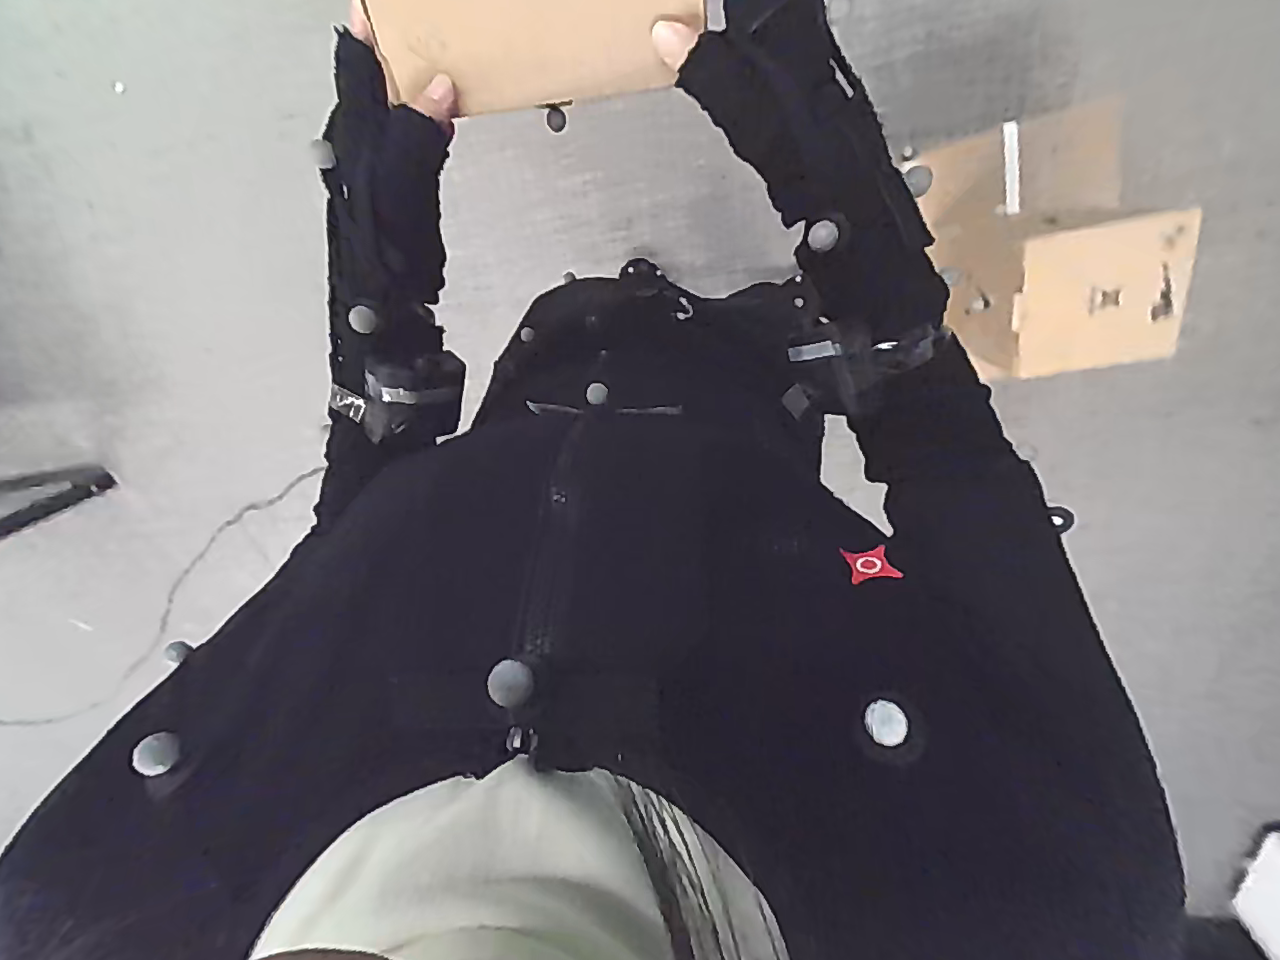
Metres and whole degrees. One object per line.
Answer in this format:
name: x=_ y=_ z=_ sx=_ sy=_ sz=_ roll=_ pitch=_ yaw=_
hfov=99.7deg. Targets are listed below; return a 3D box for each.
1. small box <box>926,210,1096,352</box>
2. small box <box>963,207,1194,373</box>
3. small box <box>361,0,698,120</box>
small box: x=0.571 y=-0.318 z=0.859 sx=0.168 sy=0.176 sz=0.179 roll=-7 pitch=113 yaw=11
small box: x=0.550 y=-0.249 z=0.712 sx=0.179 sy=0.176 sz=0.168 roll=-7 pitch=114 yaw=12
small box: x=-0.061 y=-0.327 z=0.323 sx=0.179 sy=0.176 sz=0.168 roll=-6 pitch=126 yaw=6
